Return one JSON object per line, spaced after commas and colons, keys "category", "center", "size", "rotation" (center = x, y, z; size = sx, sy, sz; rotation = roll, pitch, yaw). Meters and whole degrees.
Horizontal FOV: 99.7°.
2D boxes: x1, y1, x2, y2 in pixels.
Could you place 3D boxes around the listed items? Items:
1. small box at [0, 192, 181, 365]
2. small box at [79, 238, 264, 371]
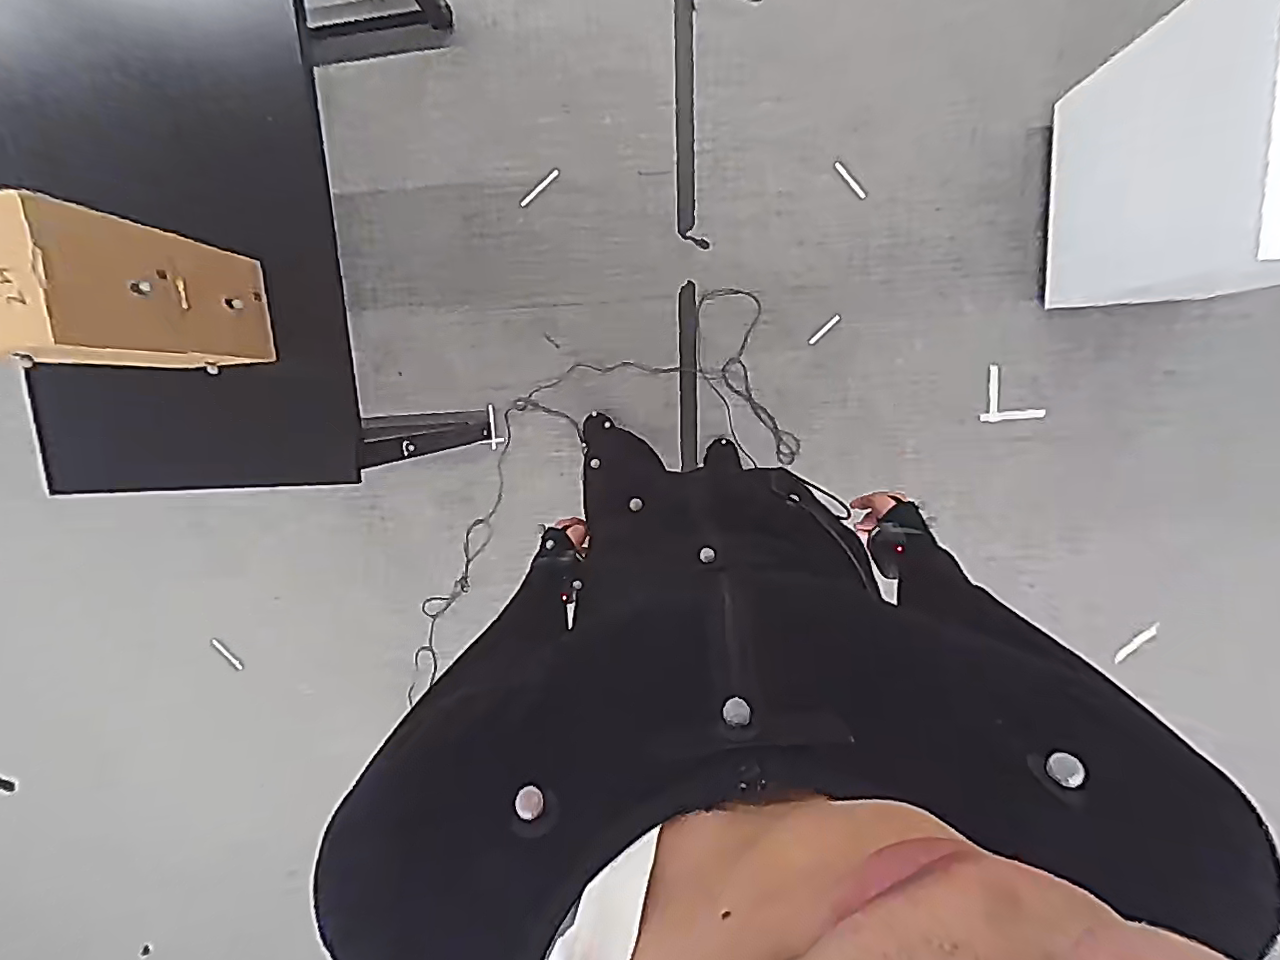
{"category": "small box", "center": [-0.736, -0.235, 0.672], "size": [0.179, 0.176, 0.168], "rotation": [-3, 99, 5]}
{"category": "small box", "center": [-0.720, -0.260, 0.835], "size": [0.179, 0.176, 0.168], "rotation": [-4, 98, 5]}
